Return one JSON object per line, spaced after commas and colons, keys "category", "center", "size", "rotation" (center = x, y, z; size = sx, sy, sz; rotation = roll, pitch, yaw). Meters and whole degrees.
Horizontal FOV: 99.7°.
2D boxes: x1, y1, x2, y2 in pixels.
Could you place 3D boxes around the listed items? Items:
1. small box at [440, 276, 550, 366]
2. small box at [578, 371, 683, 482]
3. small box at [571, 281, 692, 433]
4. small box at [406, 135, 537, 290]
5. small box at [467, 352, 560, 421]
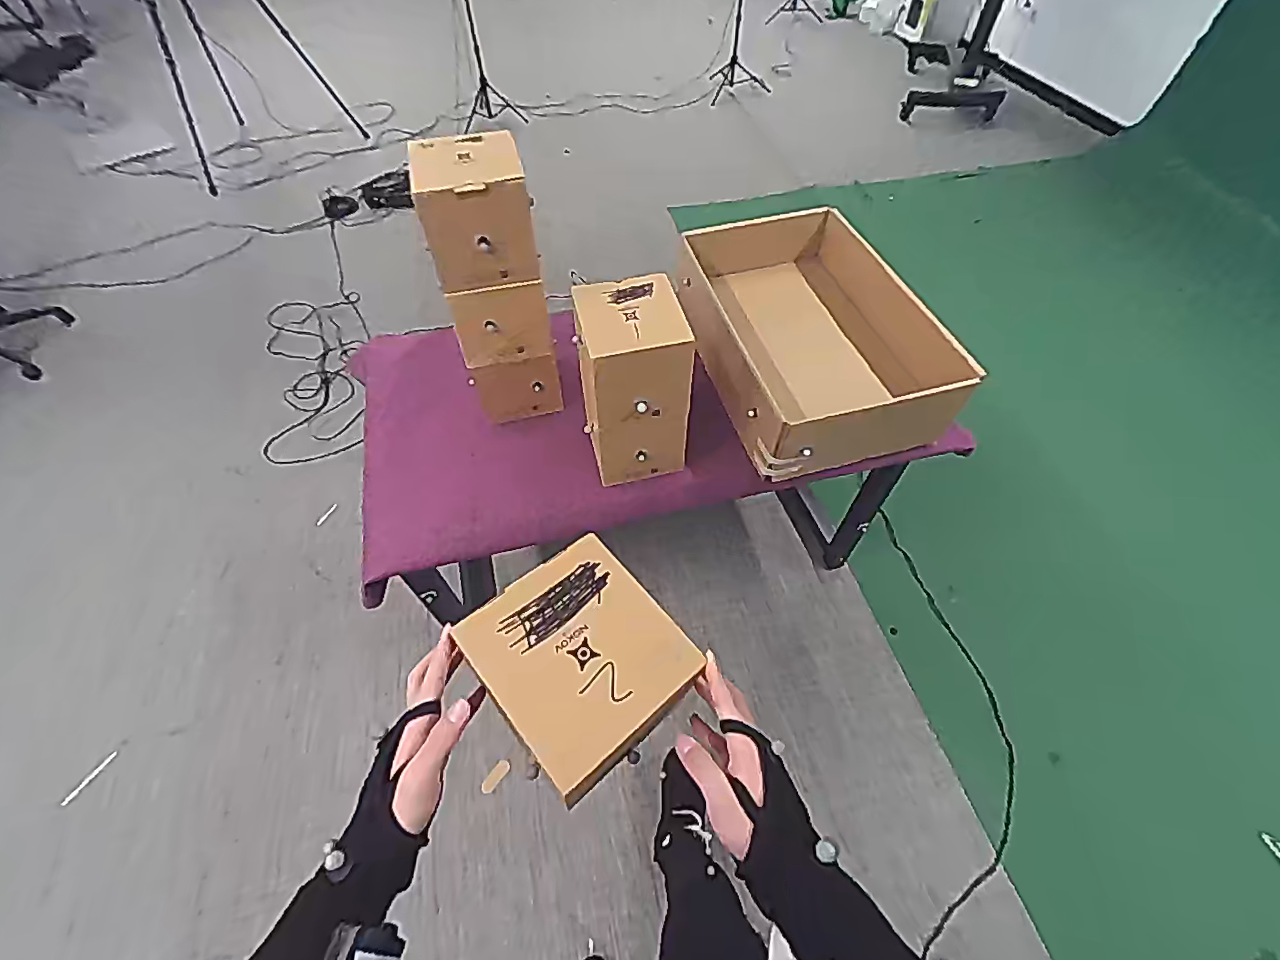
{"category": "small box", "center": [-0.272, -0.333, 1.023], "size": [0.168, 0.176, 0.179], "rotation": [-13, 55, -9]}
{"category": "small box", "center": [-0.019, -0.112, 1.056], "size": [0.168, 0.176, 0.179], "rotation": [-11, 55, -8]}
{"category": "small box", "center": [-0.018, -0.208, 0.924], "size": [0.168, 0.176, 0.179], "rotation": [-12, 55, -8]}
{"category": "small box", "center": [-0.273, -0.433, 0.892], "size": [0.168, 0.176, 0.179], "rotation": [-13, 56, -10]}
{"category": "small box", "center": [-0.272, -0.243, 1.157], "size": [0.168, 0.176, 0.179], "rotation": [-12, 55, -9]}
